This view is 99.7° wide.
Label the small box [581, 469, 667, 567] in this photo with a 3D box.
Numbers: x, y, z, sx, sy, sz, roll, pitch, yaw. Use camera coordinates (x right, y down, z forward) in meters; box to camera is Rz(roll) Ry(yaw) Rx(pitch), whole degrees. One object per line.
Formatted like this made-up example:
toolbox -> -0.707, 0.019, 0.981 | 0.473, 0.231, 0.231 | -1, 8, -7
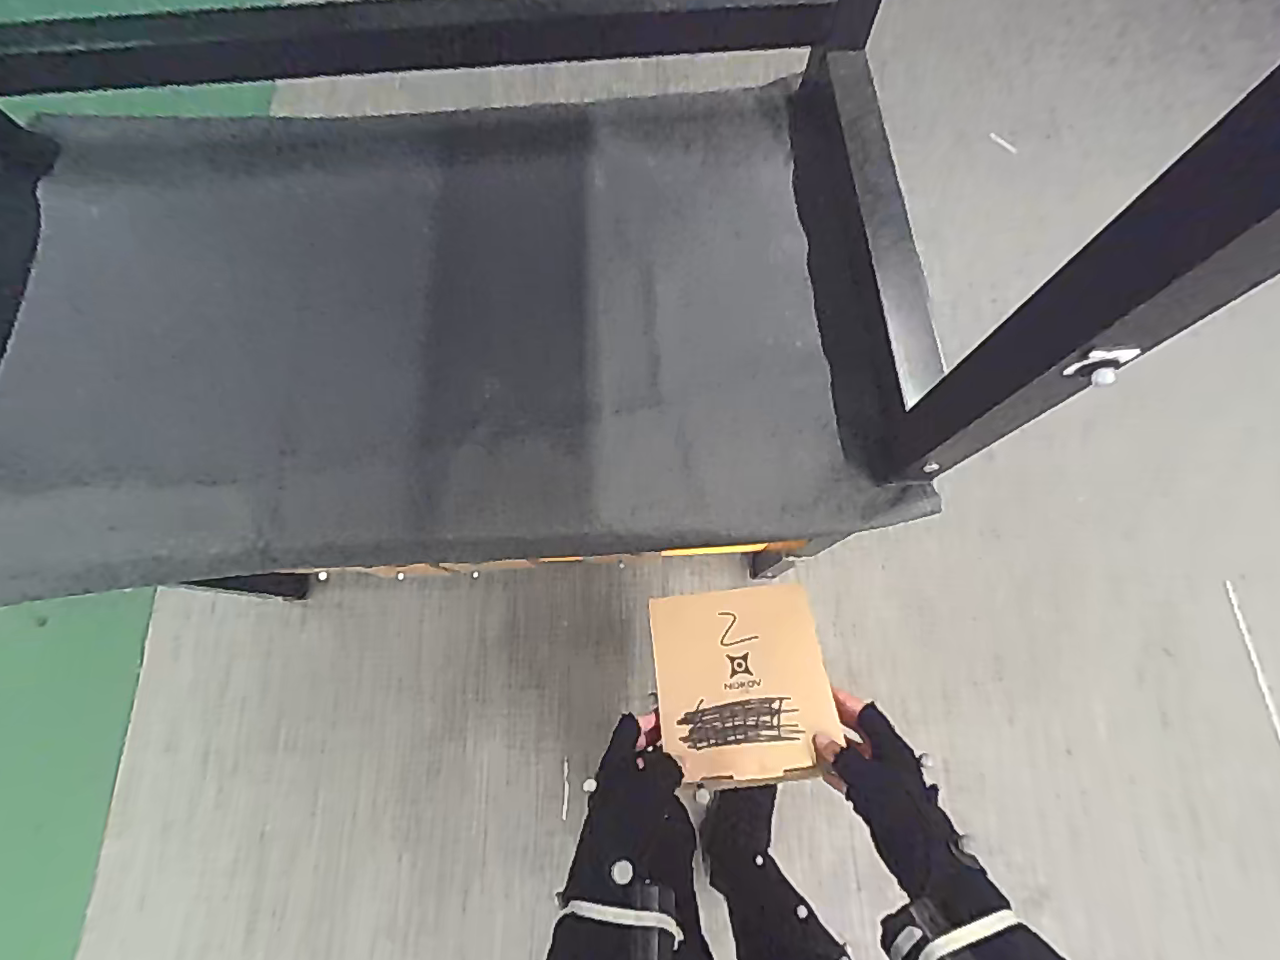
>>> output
small box -> -0.028, 0.085, 1.148 | 0.168, 0.176, 0.179 | 1, 75, 3
